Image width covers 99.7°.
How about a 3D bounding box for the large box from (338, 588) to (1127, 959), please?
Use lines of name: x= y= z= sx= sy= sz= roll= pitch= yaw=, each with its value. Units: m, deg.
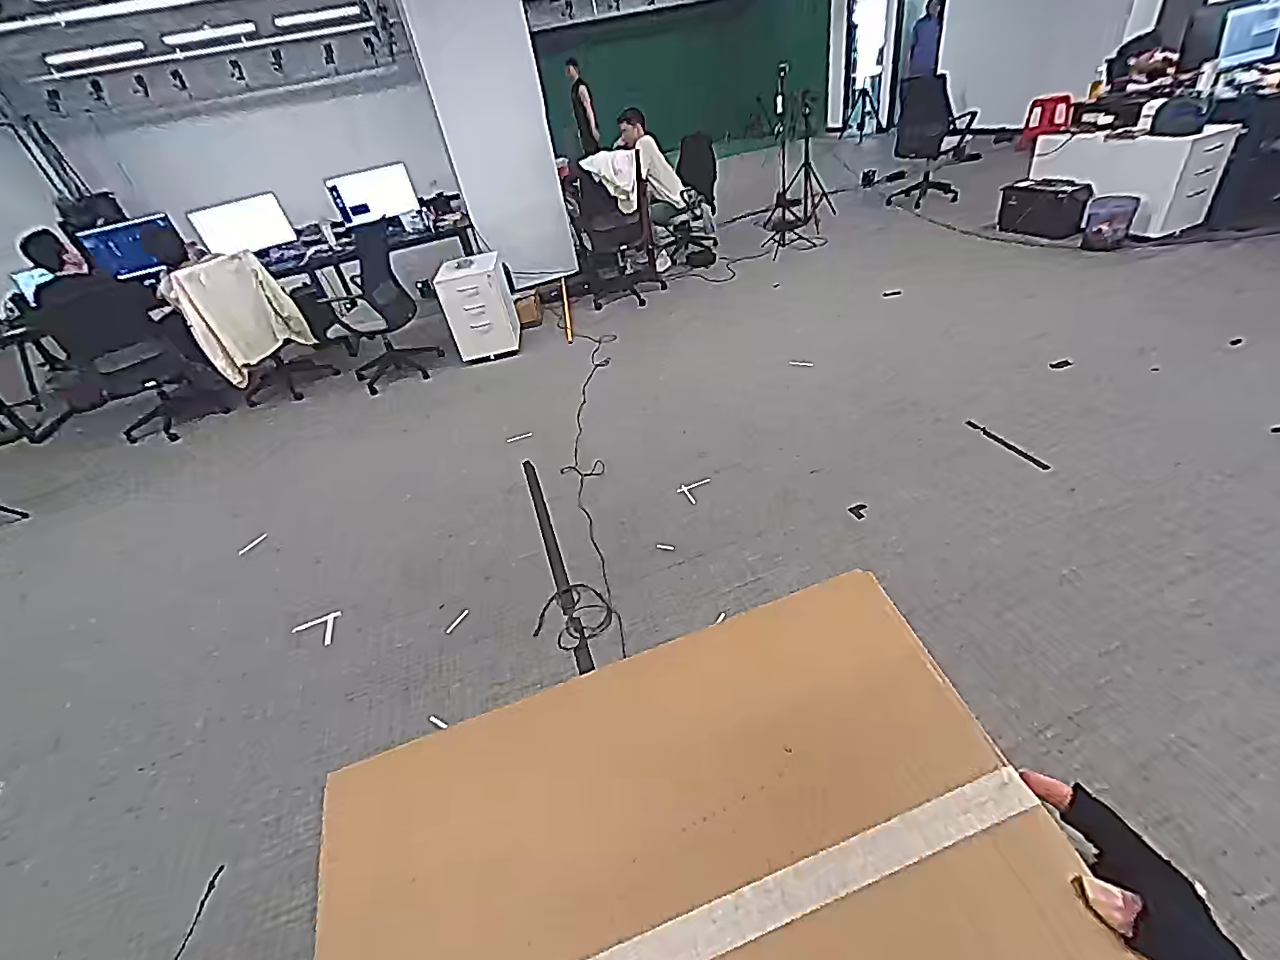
large box: x=0.054 y=0.346 z=0.406 sx=0.408 sy=0.320 sz=0.320 roll=-20 pitch=49 yaw=-6
